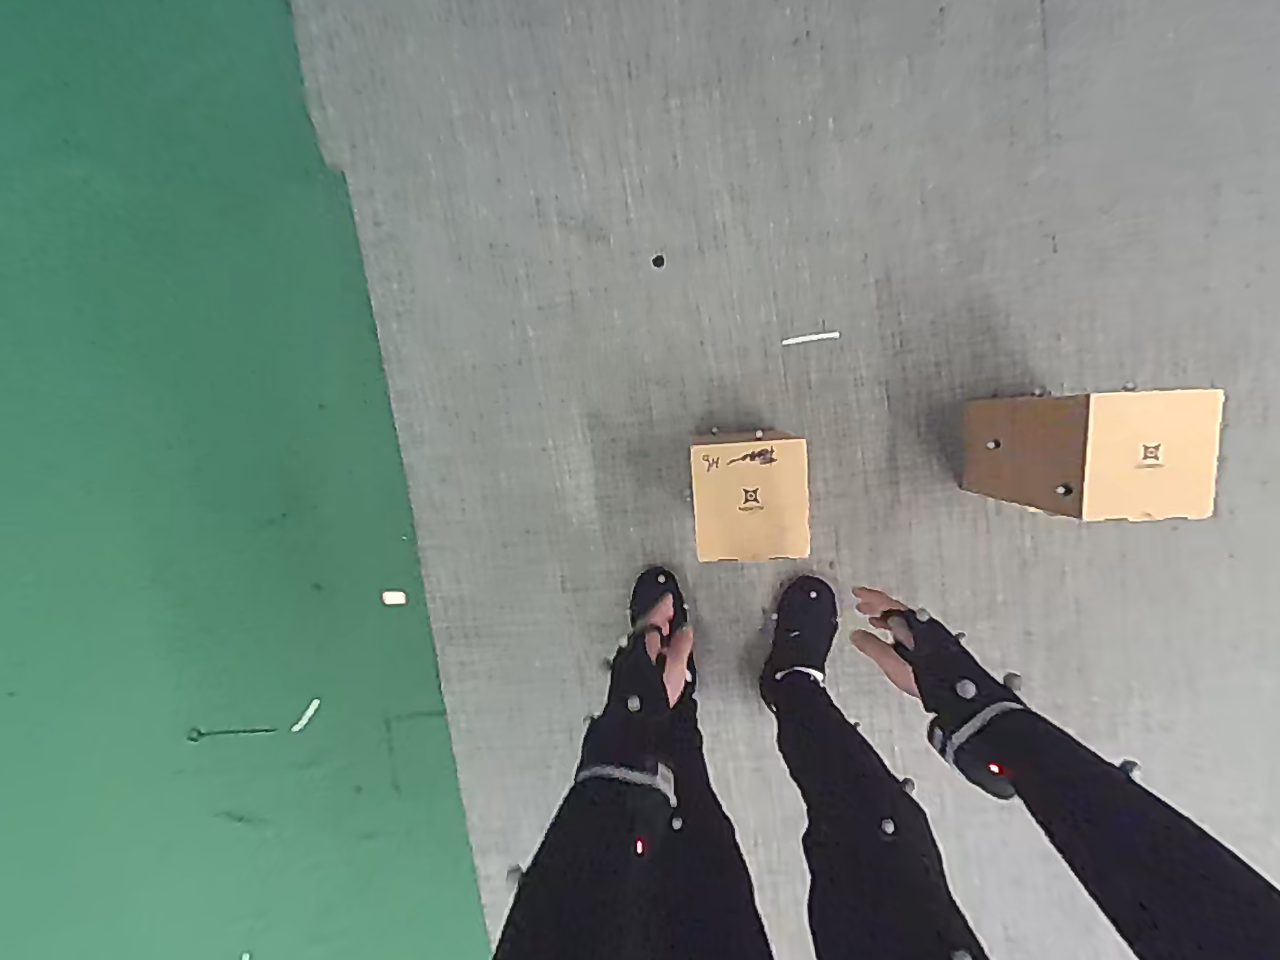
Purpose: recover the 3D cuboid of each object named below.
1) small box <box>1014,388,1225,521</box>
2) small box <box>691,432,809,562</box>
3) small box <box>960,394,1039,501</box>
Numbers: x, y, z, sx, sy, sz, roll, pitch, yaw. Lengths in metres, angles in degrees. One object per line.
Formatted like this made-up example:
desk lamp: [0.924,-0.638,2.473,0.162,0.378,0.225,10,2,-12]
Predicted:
small box: [0.685,-0.041,0.794,0.168,0.176,0.179,-1,98,5]
small box: [0.167,0.020,0.852,0.168,0.176,0.179,-3,98,6]
small box: [0.693,-0.057,0.954,0.168,0.176,0.179,5,98,7]
